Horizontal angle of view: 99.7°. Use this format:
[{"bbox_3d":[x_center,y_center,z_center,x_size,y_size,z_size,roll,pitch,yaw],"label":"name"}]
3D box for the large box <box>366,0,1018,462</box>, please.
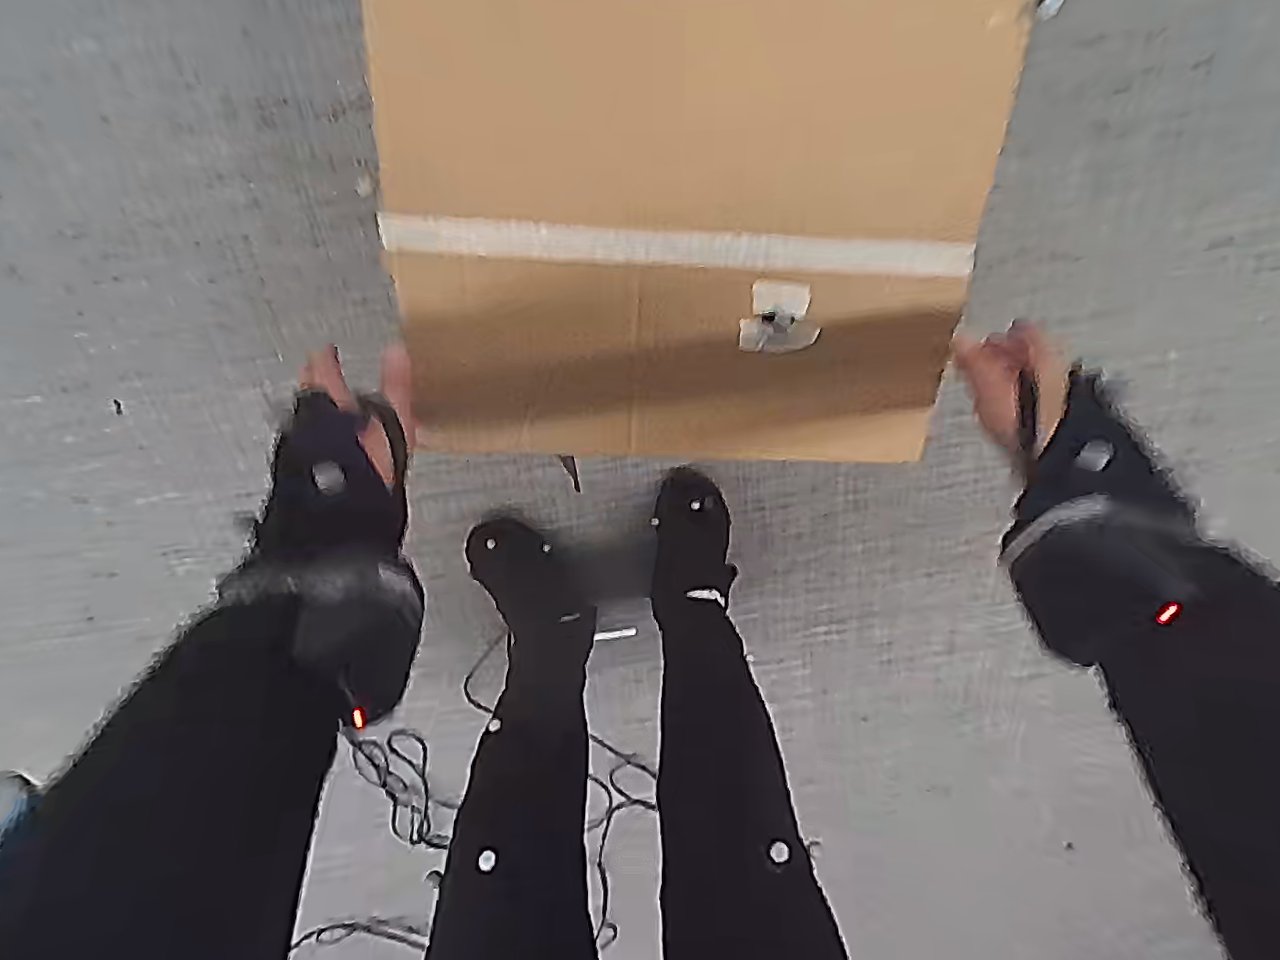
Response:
[{"bbox_3d":[0.022,-0.214,0.513,0.408,0.320,0.320,0,113,-5],"label":"large box"}]
